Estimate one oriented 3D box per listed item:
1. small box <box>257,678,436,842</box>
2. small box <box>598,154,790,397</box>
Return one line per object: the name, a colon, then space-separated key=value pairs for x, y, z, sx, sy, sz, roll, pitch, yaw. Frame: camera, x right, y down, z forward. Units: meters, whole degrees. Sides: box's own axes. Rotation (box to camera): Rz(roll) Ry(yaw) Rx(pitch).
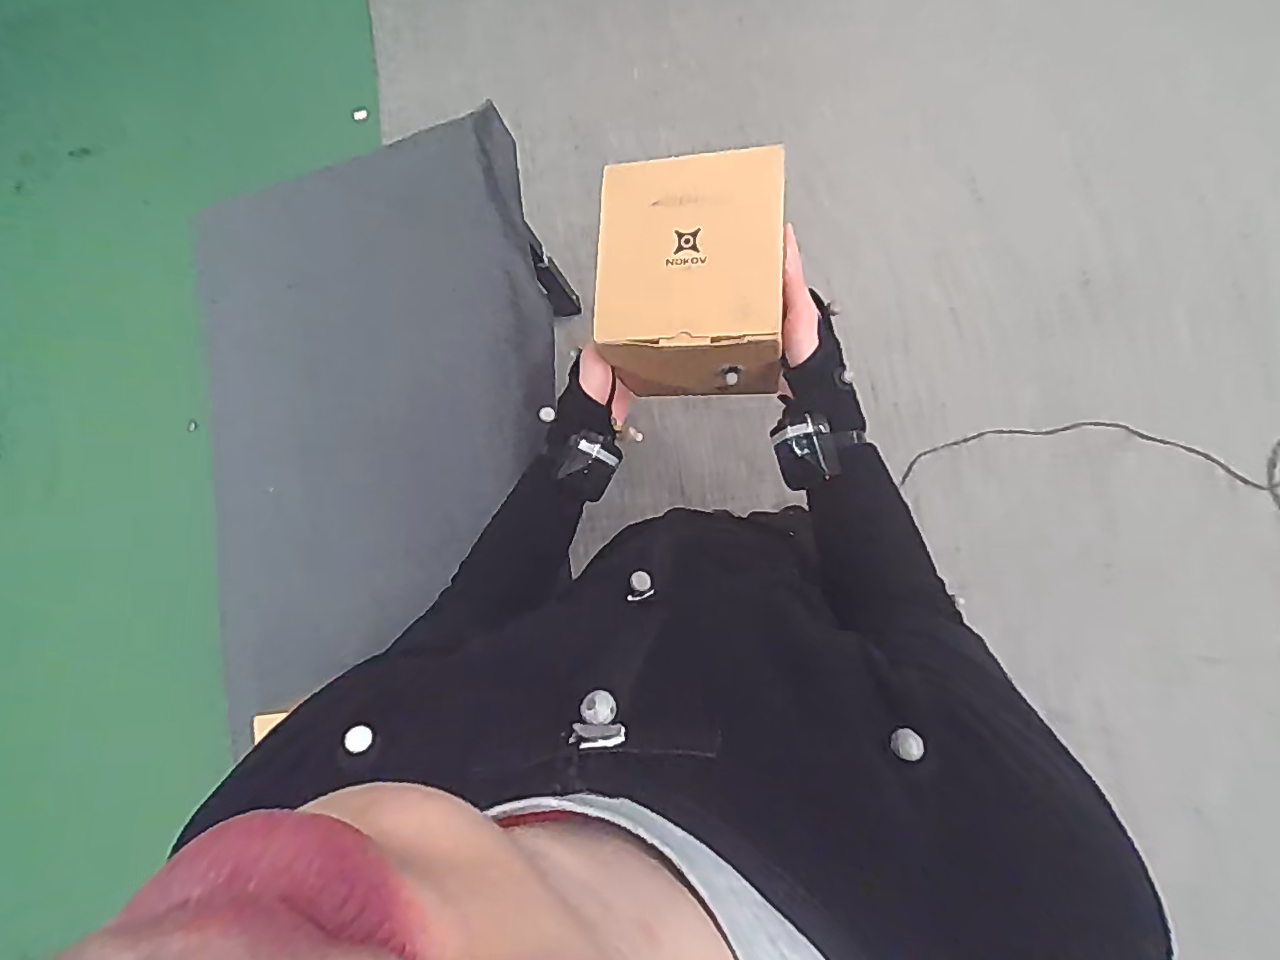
small box: x=-0.422 y=0.403 z=0.803 sx=0.179 sy=0.176 sz=0.168 roll=-9 pitch=82 yaw=9
small box: x=0.063 y=-0.188 z=0.552 sx=0.168 sy=0.176 sz=0.179 roll=1 pitch=80 yaw=12
